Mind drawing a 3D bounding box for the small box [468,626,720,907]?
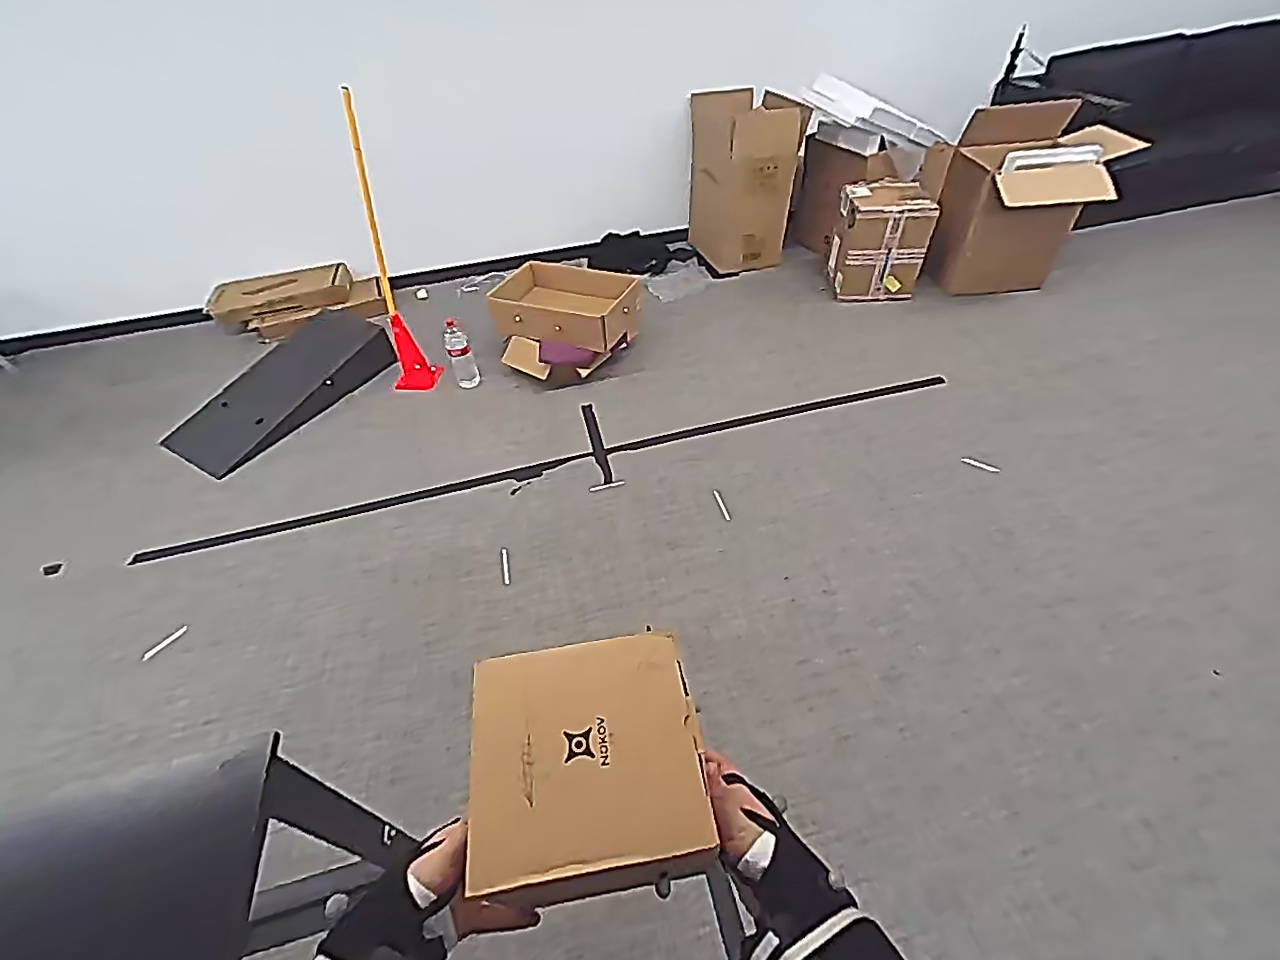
[{"bbox_3d":[-0.038,0.254,0.477,0.179,0.176,0.168,-10,48,-3],"label":"small box"}]
